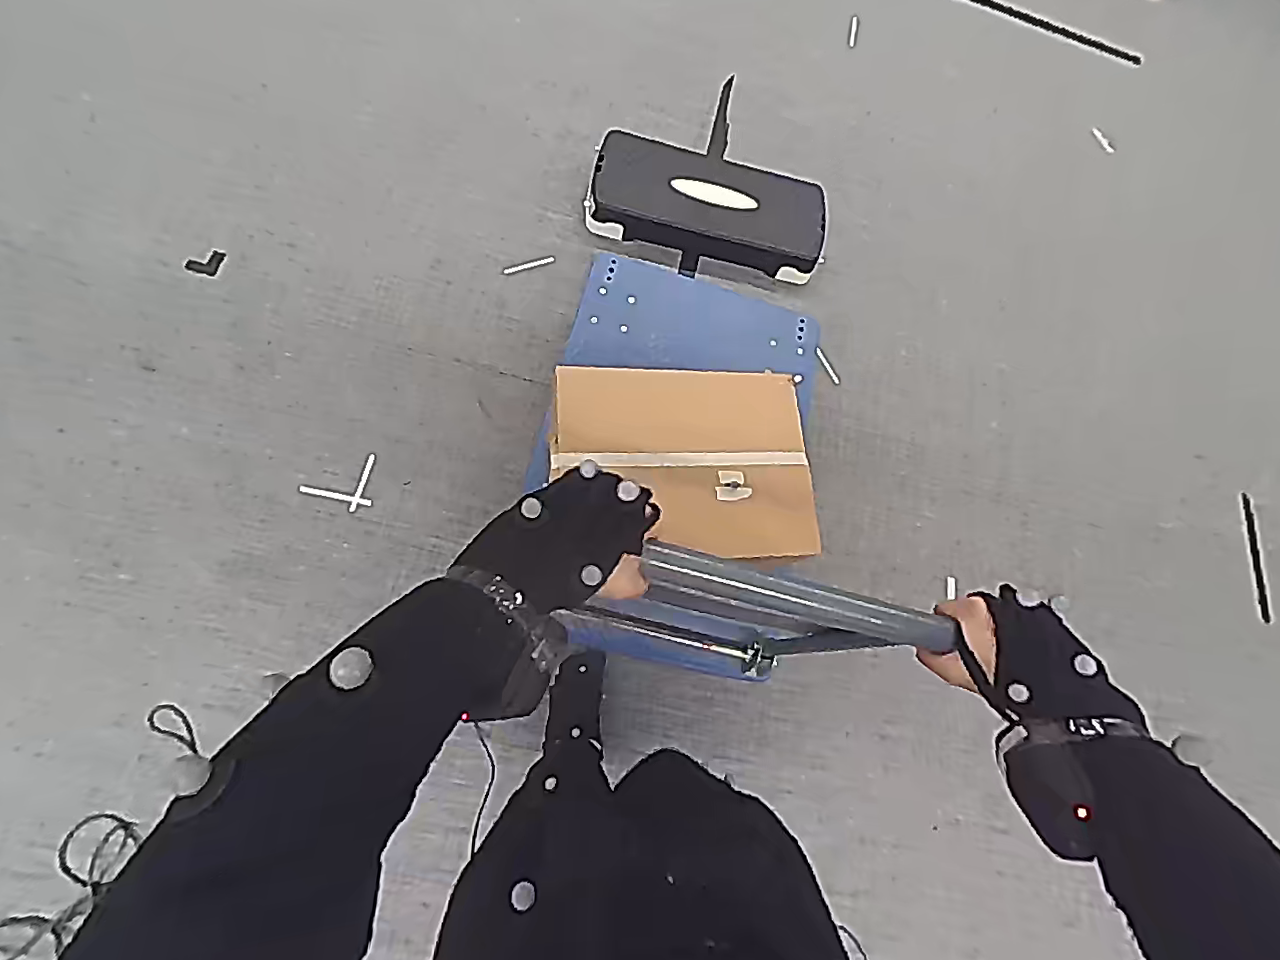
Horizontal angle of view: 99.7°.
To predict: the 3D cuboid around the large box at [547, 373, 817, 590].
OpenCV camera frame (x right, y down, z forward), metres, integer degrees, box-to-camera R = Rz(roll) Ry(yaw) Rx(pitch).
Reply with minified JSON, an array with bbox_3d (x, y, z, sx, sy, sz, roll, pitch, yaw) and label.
[{"bbox_3d":[0.043,0.019,0.988,0.408,0.320,0.320,0,74,-13],"label":"large box"}]
